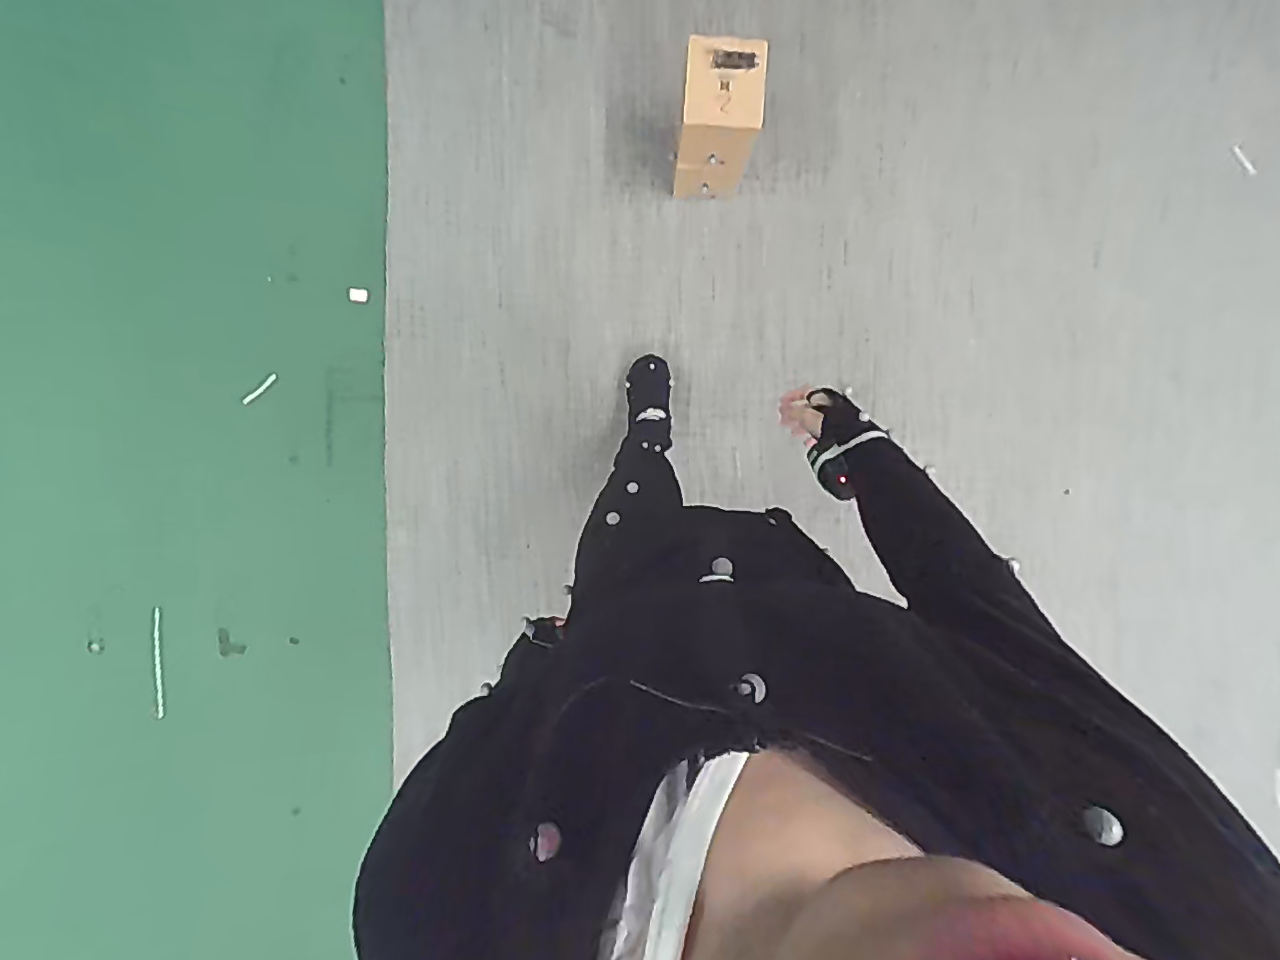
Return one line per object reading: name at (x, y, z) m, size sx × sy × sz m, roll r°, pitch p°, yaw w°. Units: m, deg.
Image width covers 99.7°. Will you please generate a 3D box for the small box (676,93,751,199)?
small box at (0.178, -0.827, 1.355) m, size 0.168 × 0.176 × 0.179 m, roll 2°, pitch 94°, yaw 0°
